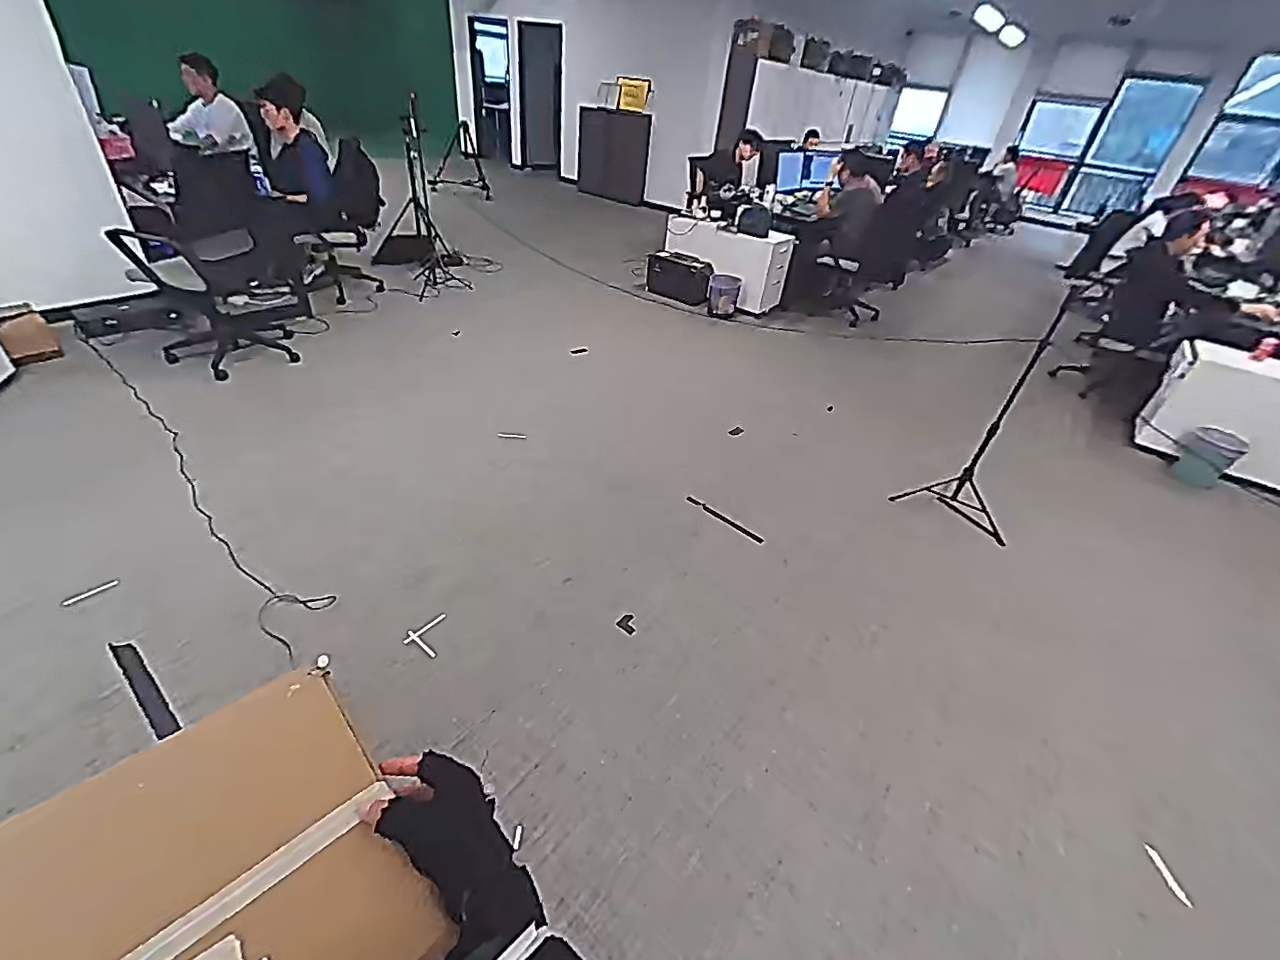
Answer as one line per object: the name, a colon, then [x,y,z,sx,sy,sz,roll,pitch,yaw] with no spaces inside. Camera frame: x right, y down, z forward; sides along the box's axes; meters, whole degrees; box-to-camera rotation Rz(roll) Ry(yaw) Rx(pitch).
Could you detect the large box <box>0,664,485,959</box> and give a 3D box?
large box: [-0.384,0.452,0.453,0.408,0.320,0.320,-26,54,-37]
